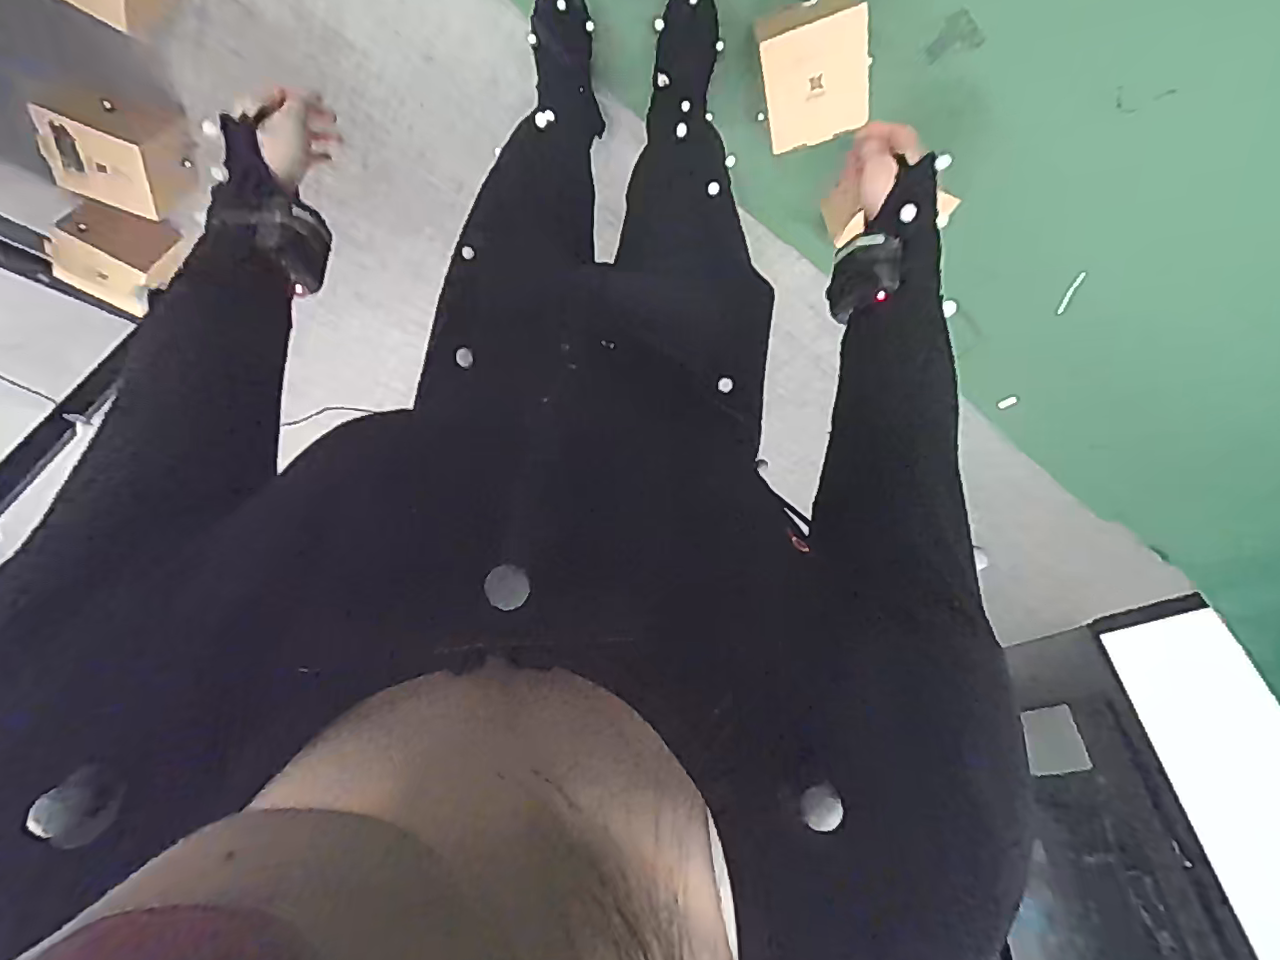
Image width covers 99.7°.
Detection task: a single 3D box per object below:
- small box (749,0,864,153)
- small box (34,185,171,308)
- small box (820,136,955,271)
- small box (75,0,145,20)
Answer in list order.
[{"bbox_3d":[0.289,-0.720,0.944,0.168,0.176,0.179,-10,140,16],"label":"small box"},{"bbox_3d":[-1.265,-0.555,1.284,0.179,0.176,0.168,30,136,-30],"label":"small box"},{"bbox_3d":[0.498,-0.575,1.118,0.179,0.176,0.168,14,142,-16],"label":"small box"},{"bbox_3d":[-0.873,-0.872,0.827,0.179,0.176,0.168,22,139,-24],"label":"small box"}]
